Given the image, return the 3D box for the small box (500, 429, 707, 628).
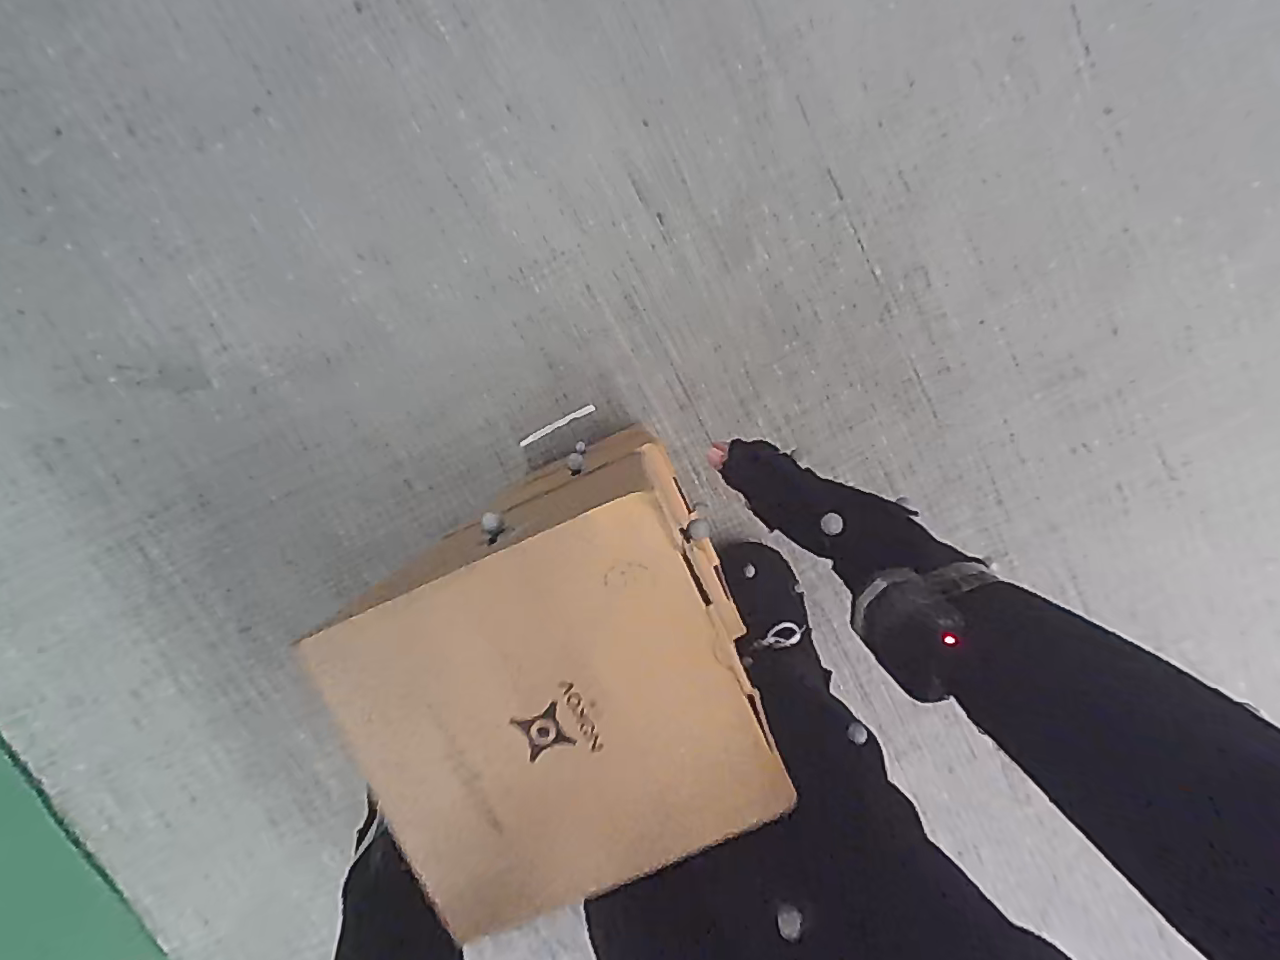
[{"bbox_3d":[-0.039,0.043,0.644,0.179,0.176,0.168,-22,96,2],"label":"small box"}]
